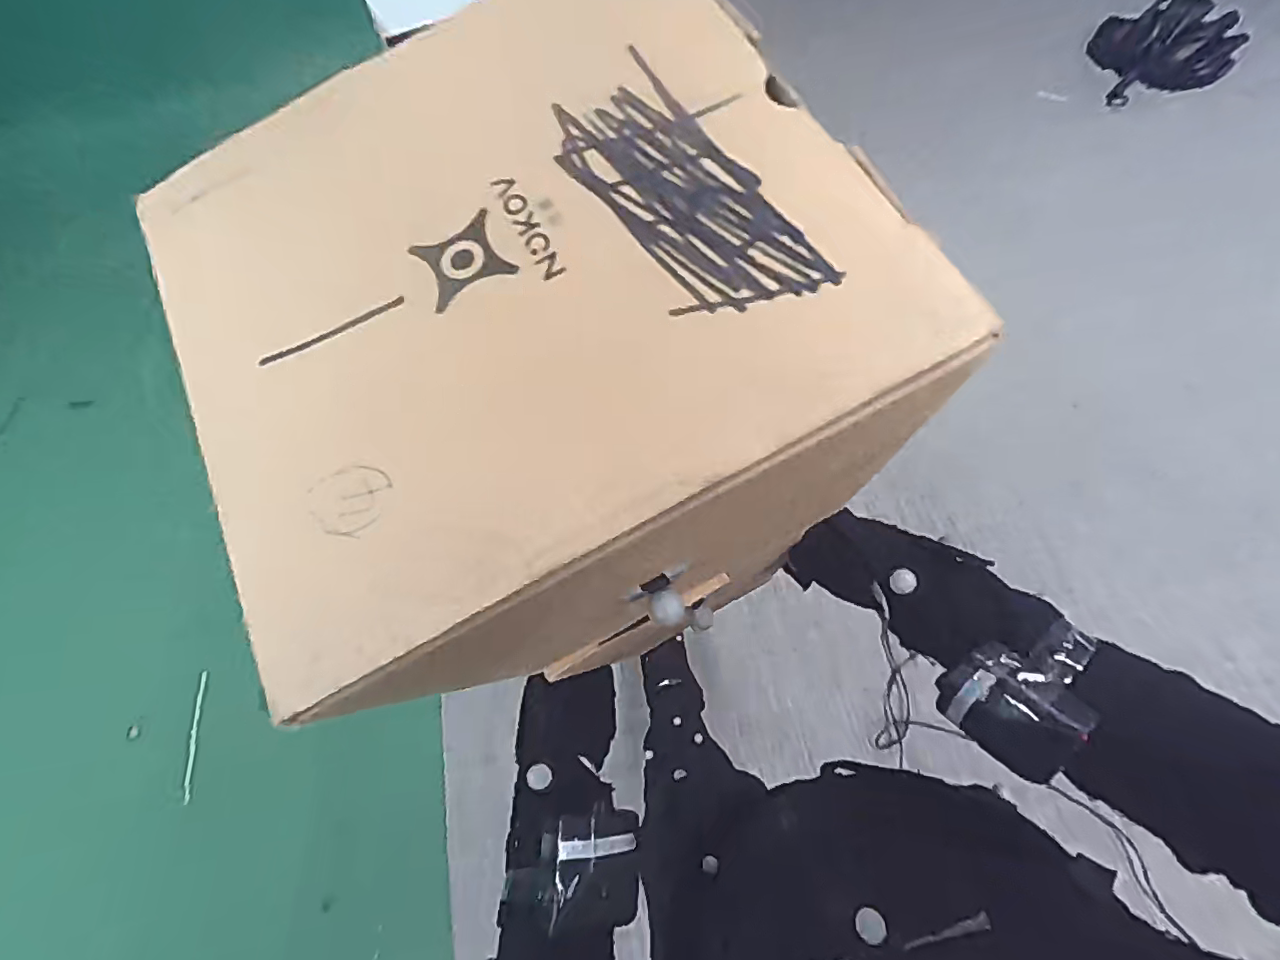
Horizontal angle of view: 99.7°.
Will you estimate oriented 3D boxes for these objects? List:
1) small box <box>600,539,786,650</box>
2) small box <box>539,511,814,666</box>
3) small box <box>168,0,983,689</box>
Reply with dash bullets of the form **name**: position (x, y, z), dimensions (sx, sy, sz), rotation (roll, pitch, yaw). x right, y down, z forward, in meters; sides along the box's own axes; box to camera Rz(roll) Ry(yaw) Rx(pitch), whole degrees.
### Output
- **small box**: position (0.018, 0.052, 0.531), dimensions (0.179, 0.176, 0.168), rotation (-29, 73, -3)
- **small box**: position (-0.007, 0.005, 0.377), dimensions (0.168, 0.176, 0.179), rotation (-30, 73, -1)
- **small box**: position (-0.022, -0.040, 0.218), dimensions (0.179, 0.176, 0.168), rotation (-28, 72, 1)
